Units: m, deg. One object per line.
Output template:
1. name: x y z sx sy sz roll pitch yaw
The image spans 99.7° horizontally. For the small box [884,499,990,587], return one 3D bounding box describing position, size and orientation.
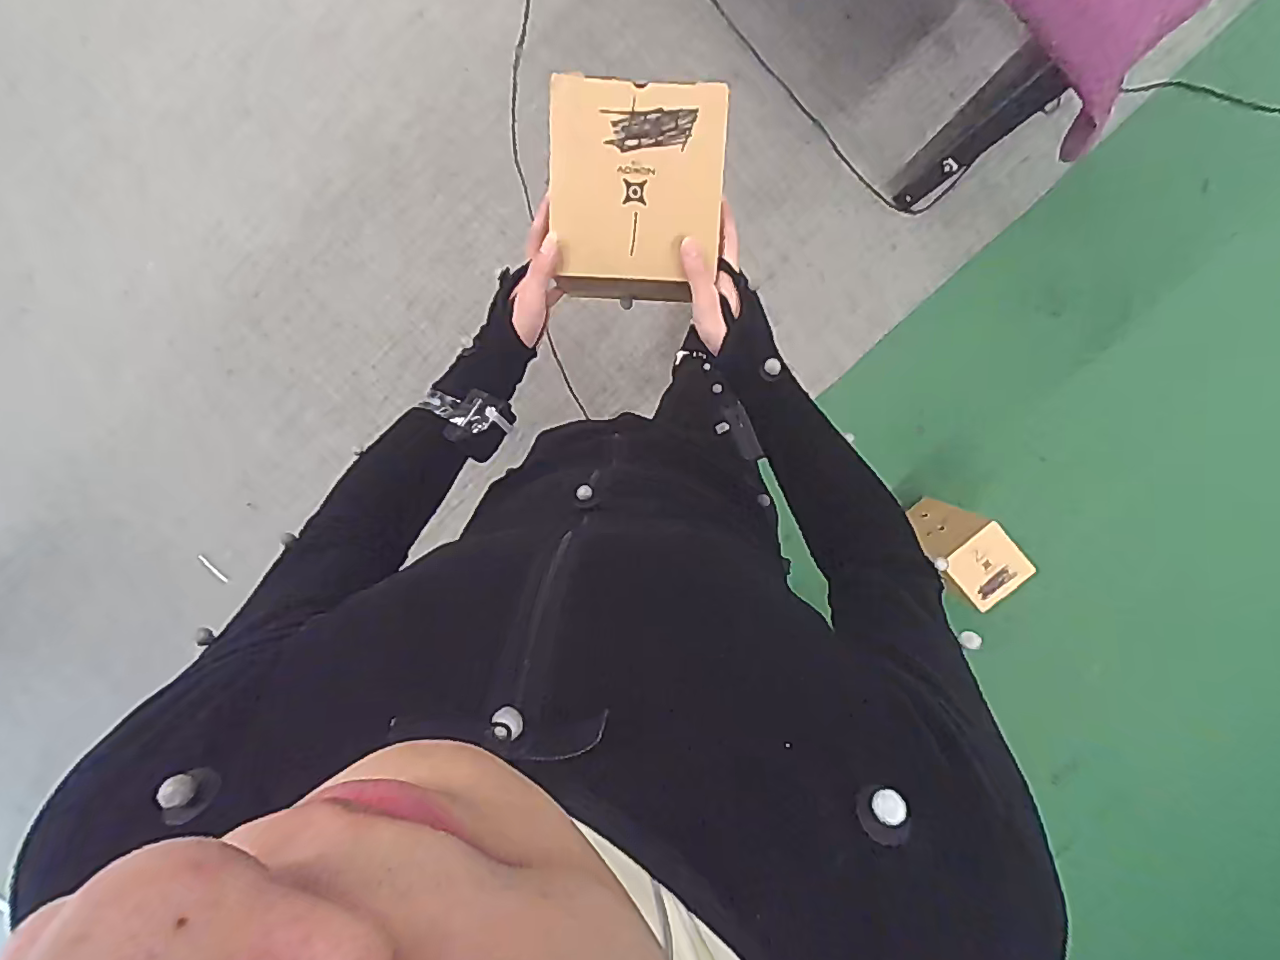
1. small box: 0.845 0.172 1.559 0.168 0.176 0.179 -43 97 5
